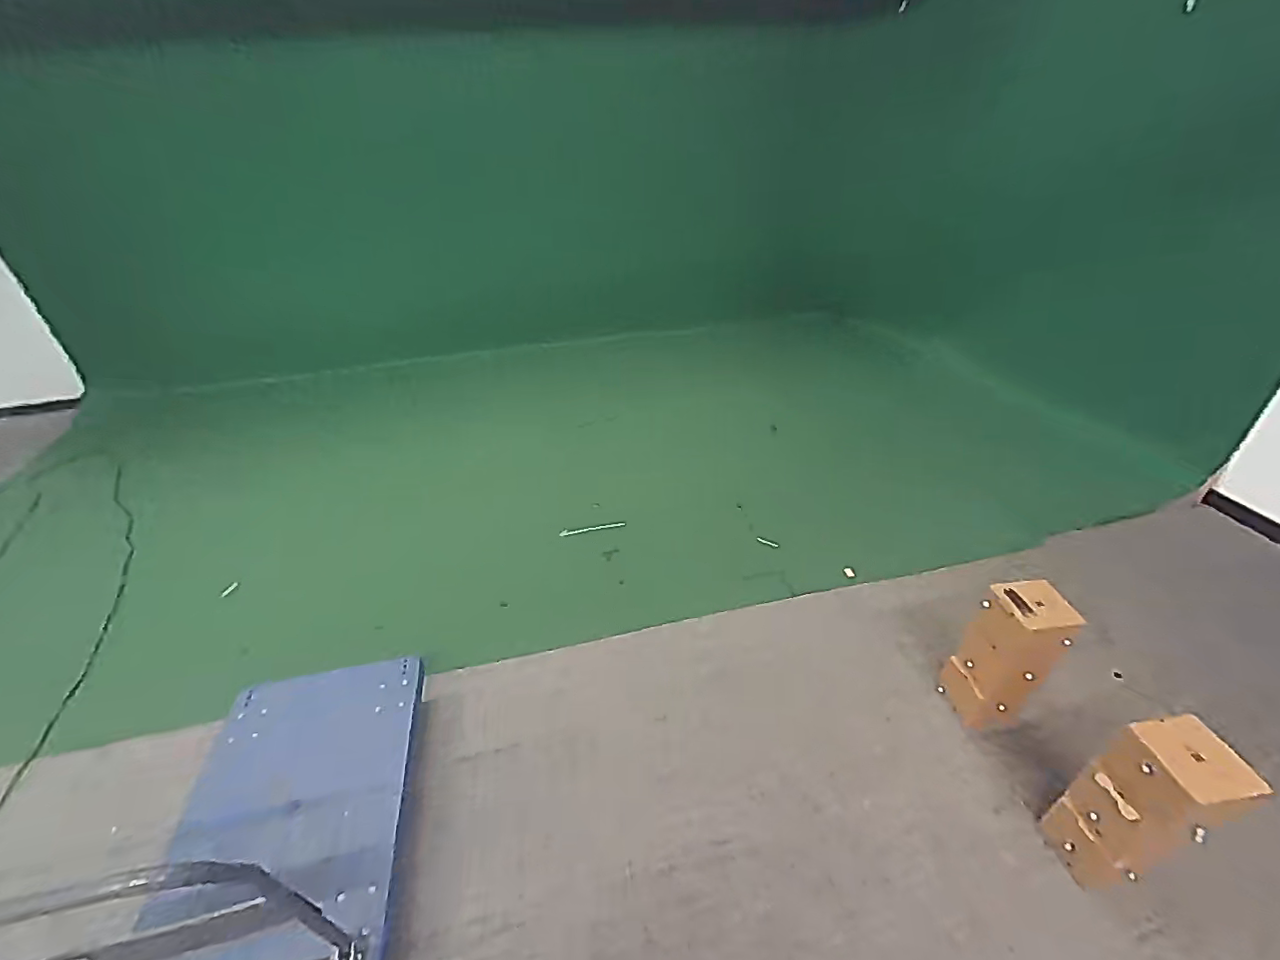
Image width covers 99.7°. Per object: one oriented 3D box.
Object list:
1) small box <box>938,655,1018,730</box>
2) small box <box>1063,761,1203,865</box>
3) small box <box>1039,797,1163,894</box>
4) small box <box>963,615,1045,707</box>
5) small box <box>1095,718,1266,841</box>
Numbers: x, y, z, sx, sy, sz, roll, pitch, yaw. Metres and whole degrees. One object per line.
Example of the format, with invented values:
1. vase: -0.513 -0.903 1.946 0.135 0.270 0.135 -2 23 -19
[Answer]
1. small box: 1.092 0.683 1.742 0.179 0.176 0.168 -5 35 -5
2. small box: 1.179 0.791 1.295 0.179 0.176 0.168 -5 34 -3
3. small box: 1.174 0.927 1.388 0.179 0.176 0.168 -8 36 -7
4. small box: 1.105 0.552 1.657 0.168 0.176 0.179 12 37 22
5. small box: 1.174 0.661 1.196 0.168 0.176 0.179 -5 35 -3
